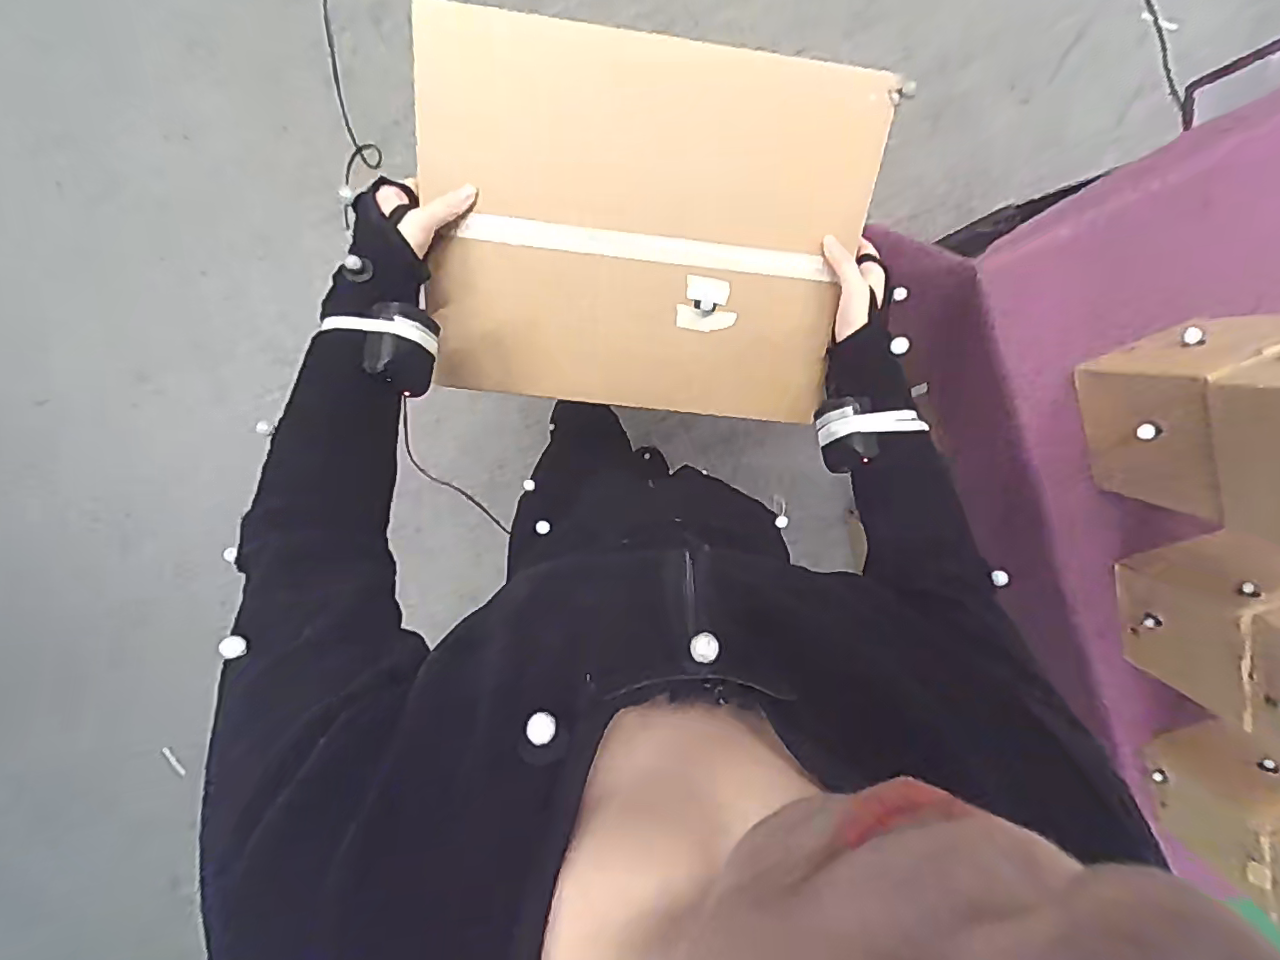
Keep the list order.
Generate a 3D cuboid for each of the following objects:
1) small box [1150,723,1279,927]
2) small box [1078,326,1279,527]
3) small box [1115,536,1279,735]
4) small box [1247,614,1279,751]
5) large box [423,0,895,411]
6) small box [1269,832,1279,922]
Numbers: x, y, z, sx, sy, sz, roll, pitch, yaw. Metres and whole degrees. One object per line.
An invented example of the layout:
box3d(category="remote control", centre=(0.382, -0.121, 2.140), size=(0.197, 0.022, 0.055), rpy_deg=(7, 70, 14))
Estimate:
box3d(category="small box", centre=(0.899, 0.483, 0.786), size=(0.179, 0.176, 0.168), rpy_deg=(-22, 104, 3))
box3d(category="small box", centre=(0.668, -0.072, 0.638), size=(0.168, 0.176, 0.179), rpy_deg=(-22, 103, 4))
box3d(category="small box", centre=(0.786, 0.191, 0.711), size=(0.179, 0.176, 0.168), rpy_deg=(-17, 104, 3))
box3d(category="small box", centre=(0.799, 0.230, 0.551), size=(0.179, 0.176, 0.168), rpy_deg=(-16, 104, 3))
box3d(category="large box", centre=(-0.001, -0.289, 0.642), size=(0.408, 0.320, 0.320), rpy_deg=(6, 115, -5))
box3d(category="small box", centre=(0.909, 0.525, 0.629), size=(0.168, 0.176, 0.179), rpy_deg=(-21, 103, 2))
